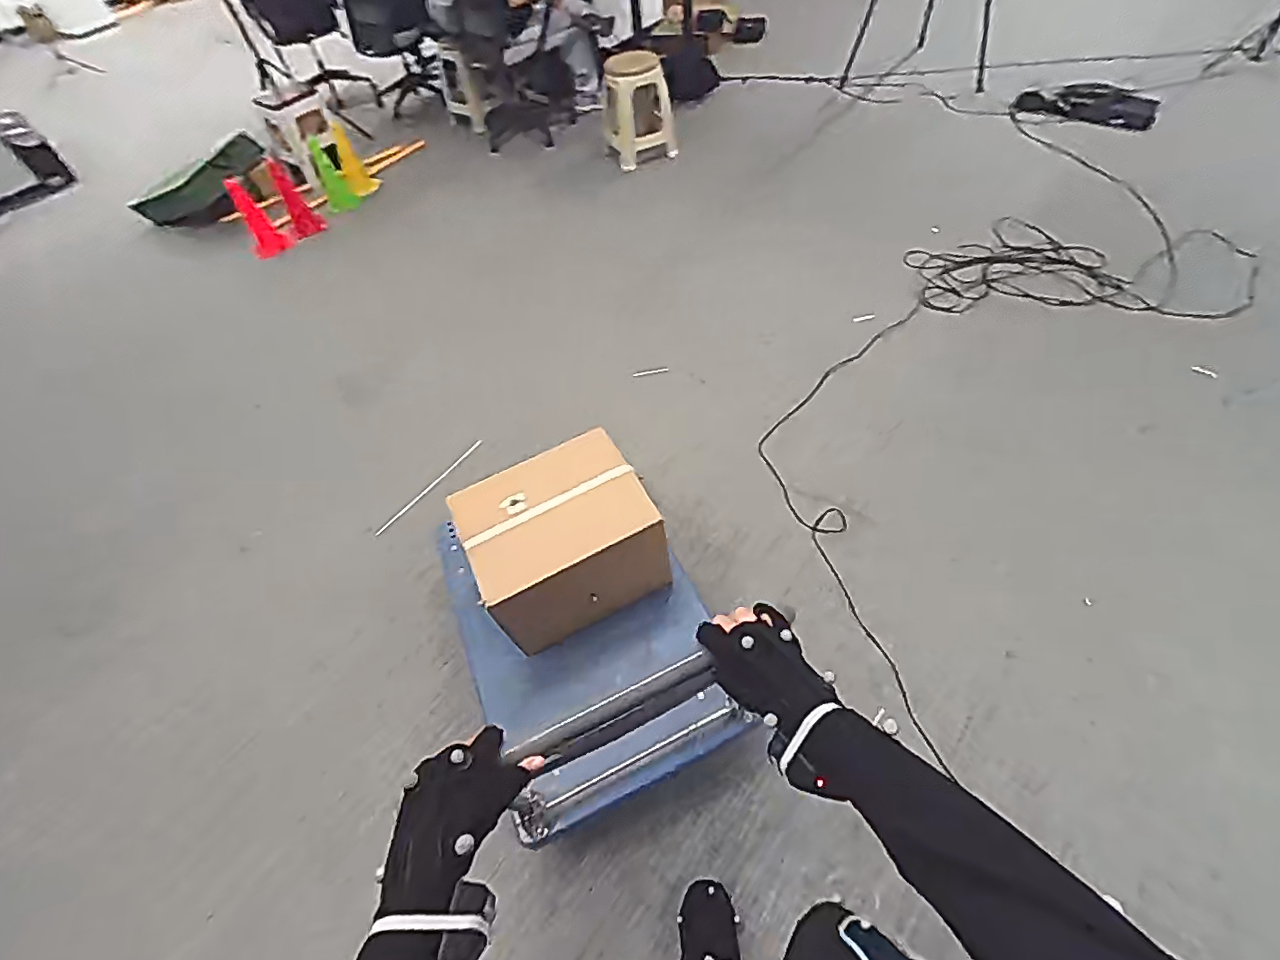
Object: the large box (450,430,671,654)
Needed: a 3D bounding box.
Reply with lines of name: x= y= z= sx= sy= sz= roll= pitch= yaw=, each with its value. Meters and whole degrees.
large box: x=-0.177 y=0.154 z=1.319 sx=0.408 sy=0.320 sz=0.320 roll=-27 pitch=54 yaw=-10
